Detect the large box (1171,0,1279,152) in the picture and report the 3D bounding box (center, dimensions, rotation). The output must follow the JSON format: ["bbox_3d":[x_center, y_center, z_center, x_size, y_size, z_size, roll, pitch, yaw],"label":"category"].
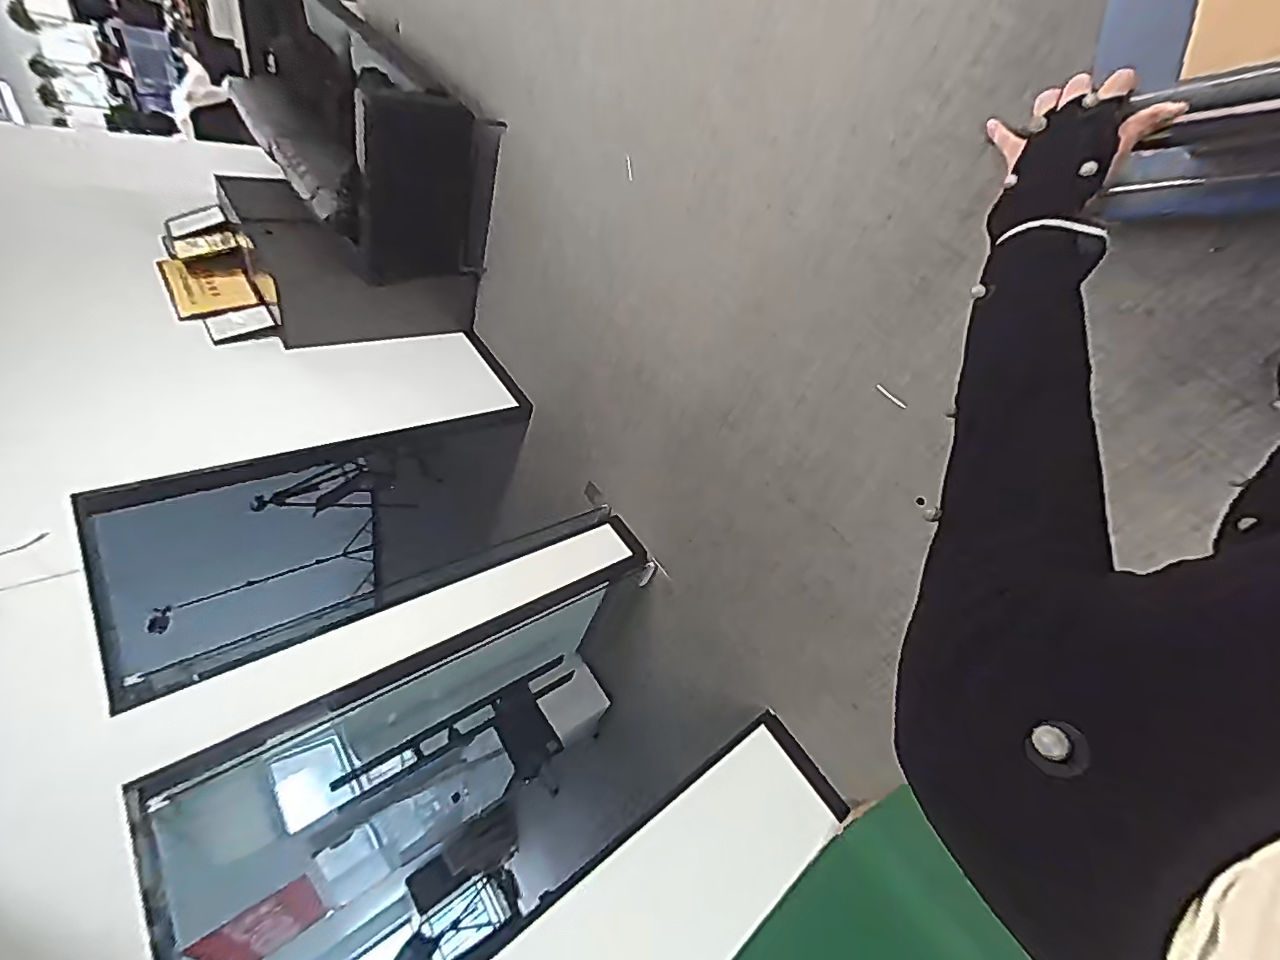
[{"bbox_3d":[0.964,-0.697,0.692,0.320,0.320,0.408,19,118,45],"label":"large box"}]
